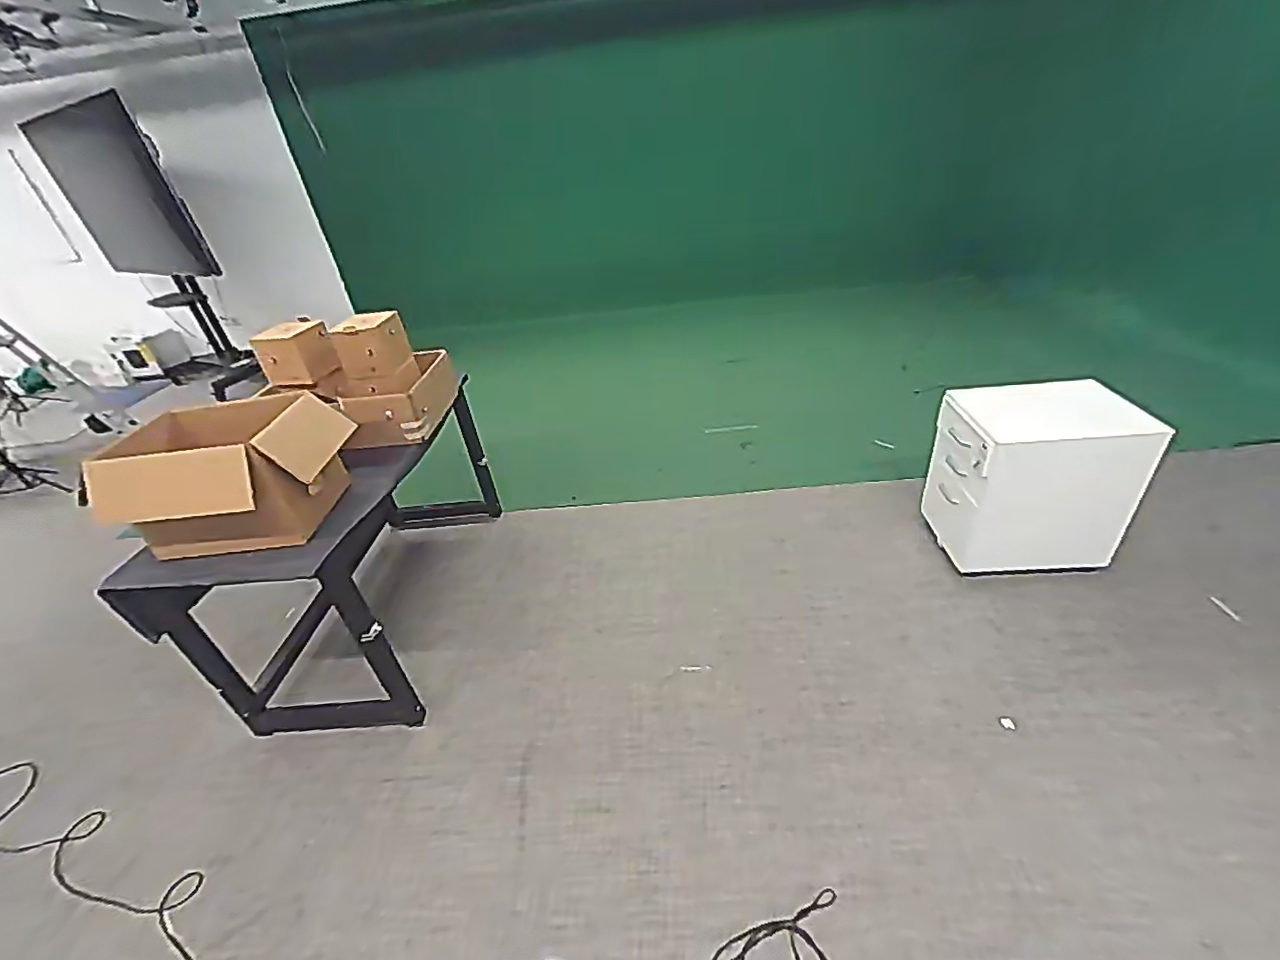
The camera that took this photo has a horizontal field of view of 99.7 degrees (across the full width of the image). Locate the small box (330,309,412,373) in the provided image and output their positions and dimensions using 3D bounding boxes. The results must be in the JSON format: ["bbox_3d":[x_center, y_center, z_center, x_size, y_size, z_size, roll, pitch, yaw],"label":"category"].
[{"bbox_3d":[-0.911,-0.473,1.856,0.168,0.176,0.179,-2,34,7],"label":"small box"}]

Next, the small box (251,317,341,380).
[{"bbox_3d":[-1.180,-0.452,1.873,0.168,0.176,0.179,1,34,10],"label":"small box"}]
